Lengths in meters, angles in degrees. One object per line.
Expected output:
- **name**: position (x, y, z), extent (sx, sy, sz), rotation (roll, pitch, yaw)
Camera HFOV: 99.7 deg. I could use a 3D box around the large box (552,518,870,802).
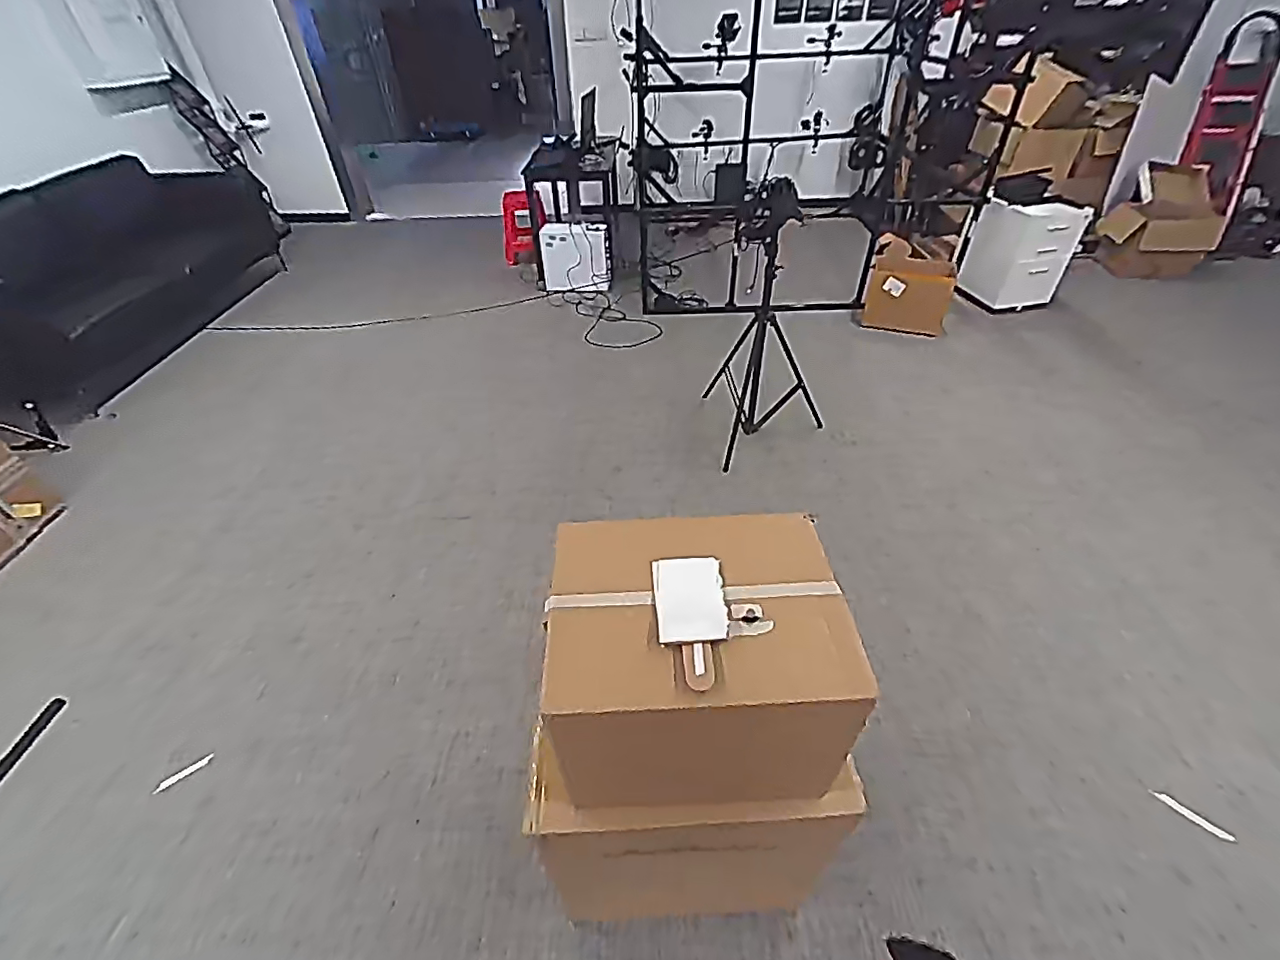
- **large box**: position (0.082, 0.284, 0.866), extent (0.408, 0.320, 0.320), rotation (-2, 41, -1)
